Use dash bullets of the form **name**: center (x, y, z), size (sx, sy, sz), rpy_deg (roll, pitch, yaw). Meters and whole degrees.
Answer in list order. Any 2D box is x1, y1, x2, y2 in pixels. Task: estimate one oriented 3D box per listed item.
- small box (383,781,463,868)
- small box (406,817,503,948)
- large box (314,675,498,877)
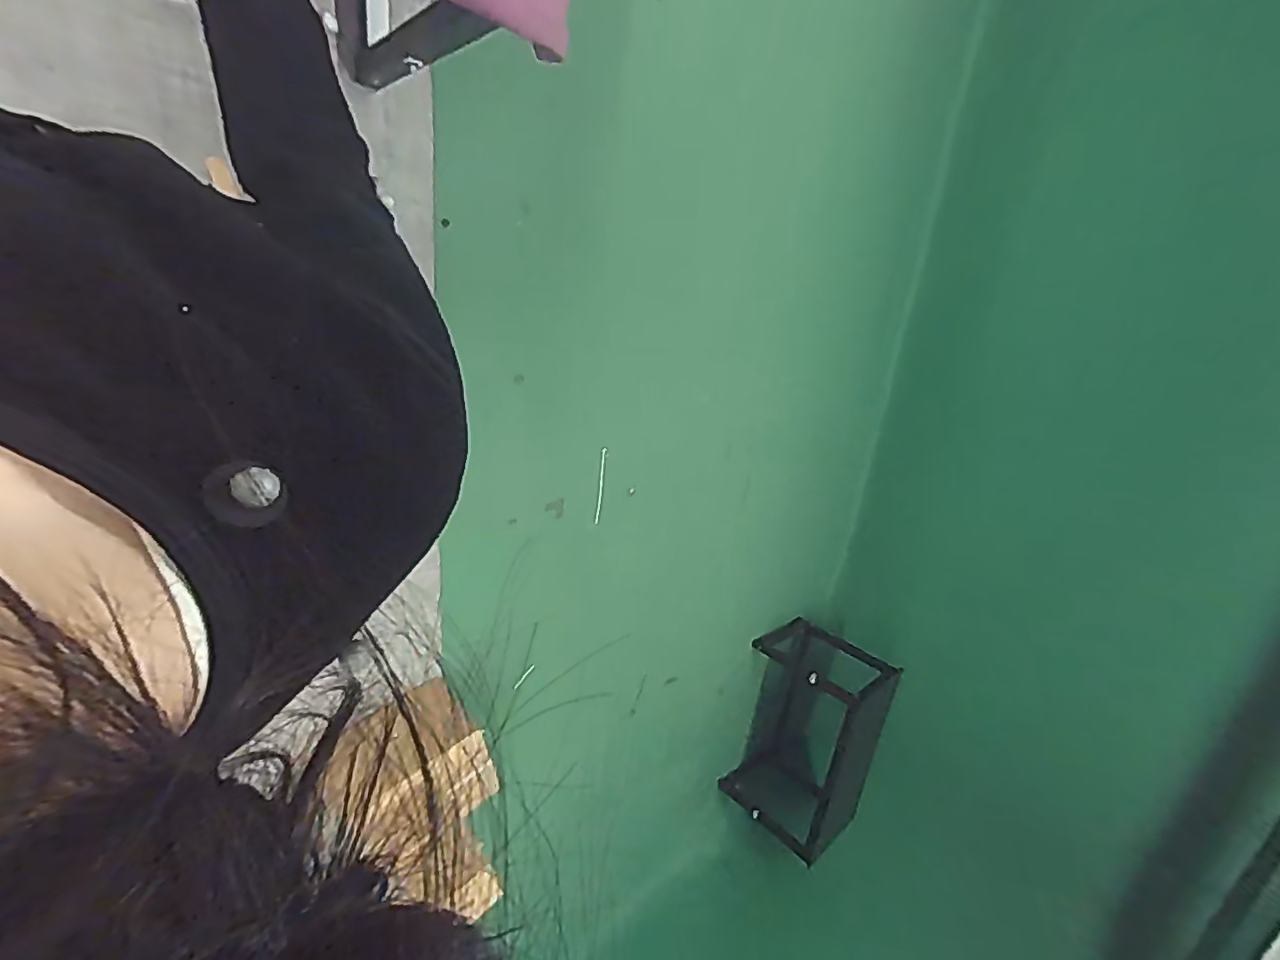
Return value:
- **small box**: center (-0.599, 0.992, 1.528), size (0.168, 0.176, 0.179), rpy_deg (-26, 124, -35)
- **small box**: center (-0.490, 1.045, 1.417), size (0.179, 0.176, 0.168), rpy_deg (-27, 125, -35)
- **large box**: center (-0.734, 0.915, 1.722), size (0.408, 0.320, 0.320), rpy_deg (-28, 127, -36)
